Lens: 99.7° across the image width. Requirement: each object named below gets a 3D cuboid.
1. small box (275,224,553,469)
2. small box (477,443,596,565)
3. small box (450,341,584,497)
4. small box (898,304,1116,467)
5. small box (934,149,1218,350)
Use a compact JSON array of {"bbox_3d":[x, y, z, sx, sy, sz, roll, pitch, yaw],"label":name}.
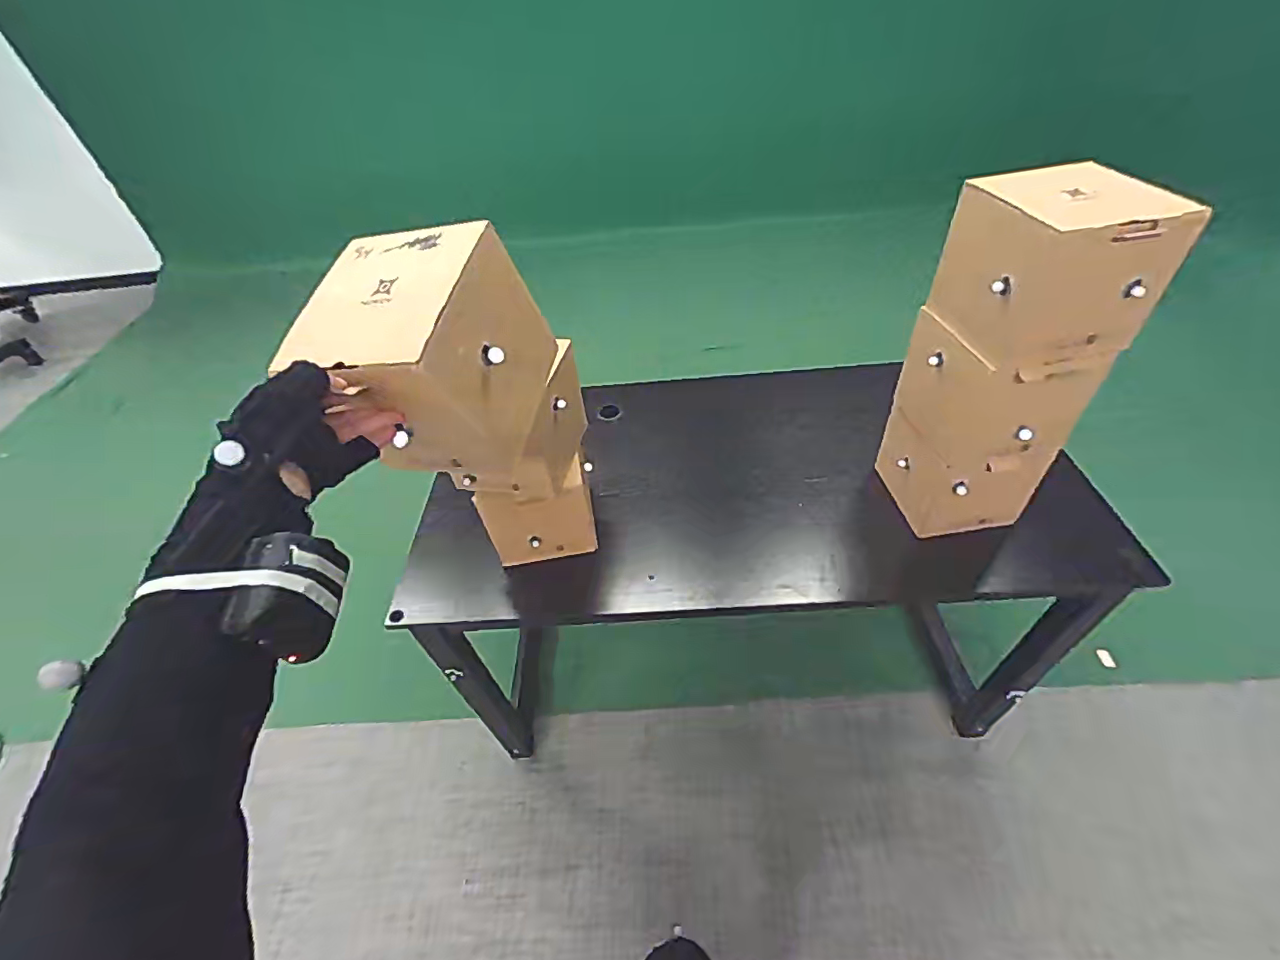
[{"bbox_3d":[-0.207,-0.123,0.551,0.168,0.176,0.179,3,62,18],"label":"small box"},{"bbox_3d":[-0.173,0.020,0.935,0.168,0.176,0.179,-10,47,-3],"label":"small box"},{"bbox_3d":[-0.191,-0.093,0.816,0.168,0.176,0.179,6,47,11],"label":"small box"},{"bbox_3d":[0.502,-0.145,0.778,0.168,0.176,0.179,-10,46,-2],"label":"small box"},{"bbox_3d":[0.492,-0.270,0.649,0.168,0.176,0.179,-10,45,-2],"label":"small box"}]
